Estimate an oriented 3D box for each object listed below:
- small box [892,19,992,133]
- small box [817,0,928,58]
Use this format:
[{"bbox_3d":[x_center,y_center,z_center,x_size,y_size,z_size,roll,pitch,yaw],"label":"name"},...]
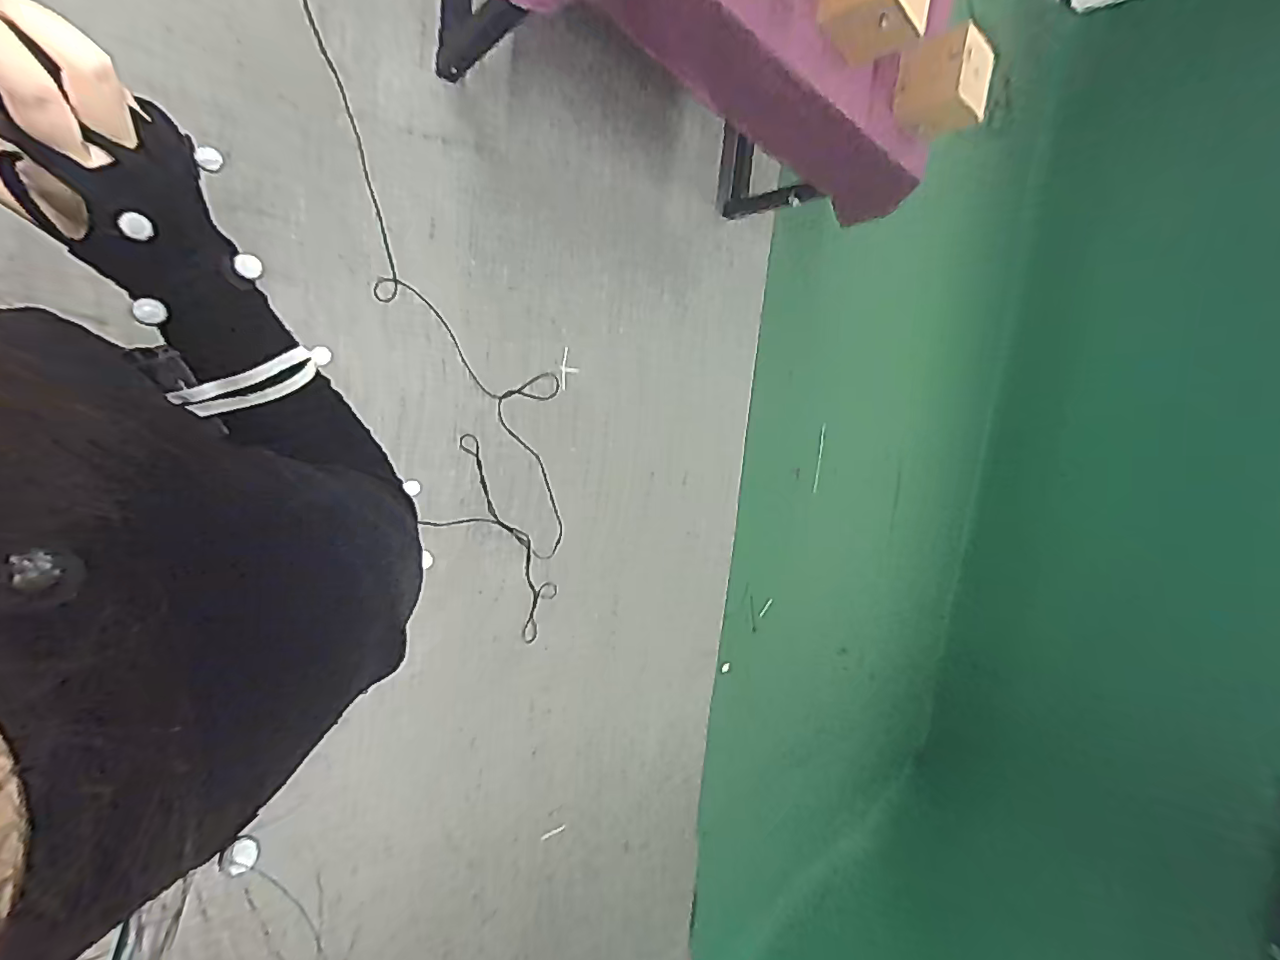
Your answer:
[{"bbox_3d":[0.796,-1.051,1.428,0.179,0.176,0.168,-2,101,-42],"label":"small box"},{"bbox_3d":[0.506,-1.067,1.168,0.179,0.176,0.168,3,98,-43],"label":"small box"}]
